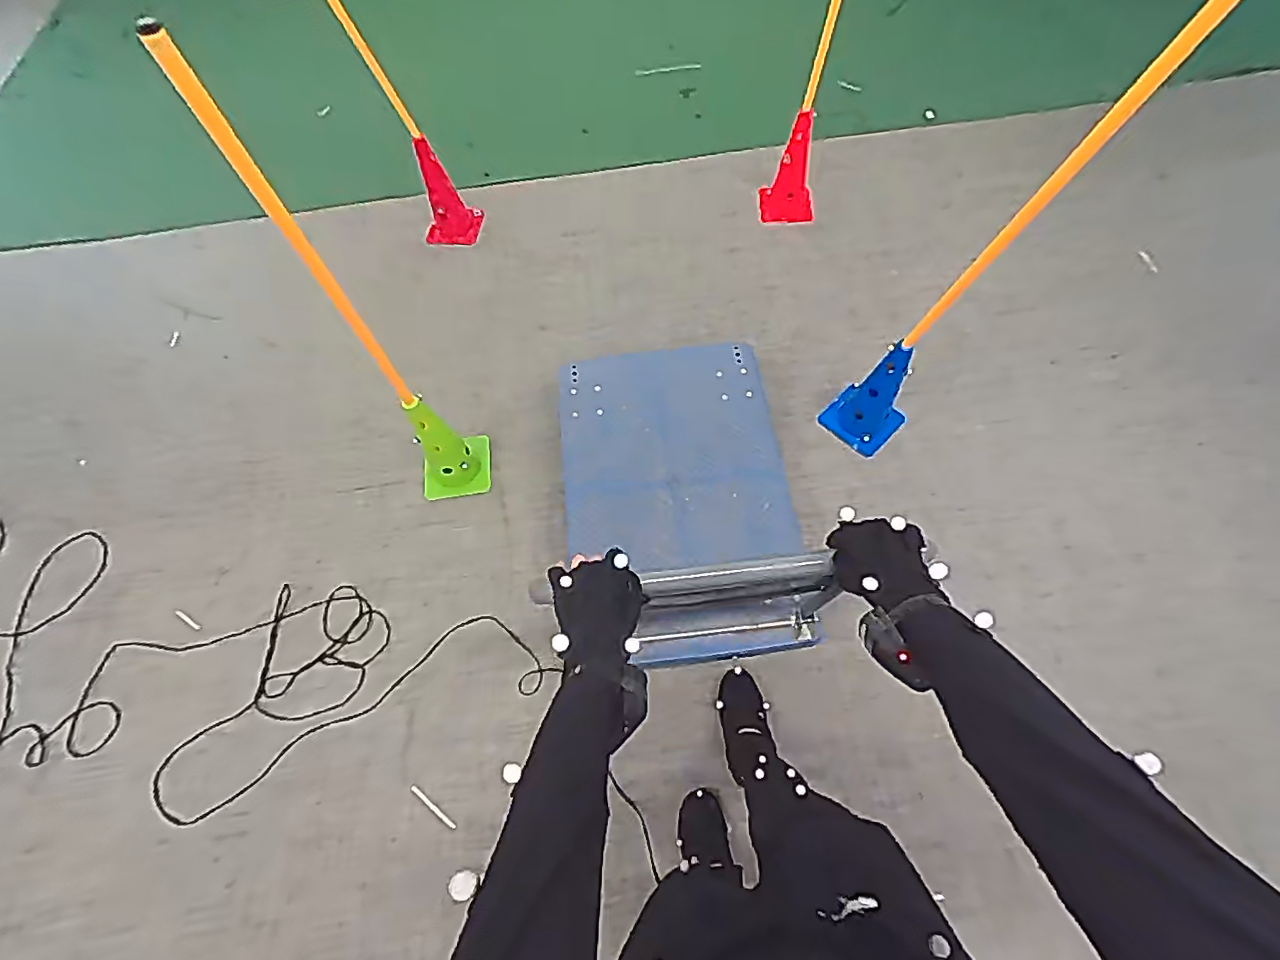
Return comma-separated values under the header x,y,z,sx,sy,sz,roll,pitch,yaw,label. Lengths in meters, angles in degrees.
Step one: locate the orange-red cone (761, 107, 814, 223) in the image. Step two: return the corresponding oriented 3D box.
x,y,z,sx,sy,sz,roll,pitch,yaw,label
0.554,-1.132,1.927,0.198,0.360,0.199,2,65,5,orange-red cone
